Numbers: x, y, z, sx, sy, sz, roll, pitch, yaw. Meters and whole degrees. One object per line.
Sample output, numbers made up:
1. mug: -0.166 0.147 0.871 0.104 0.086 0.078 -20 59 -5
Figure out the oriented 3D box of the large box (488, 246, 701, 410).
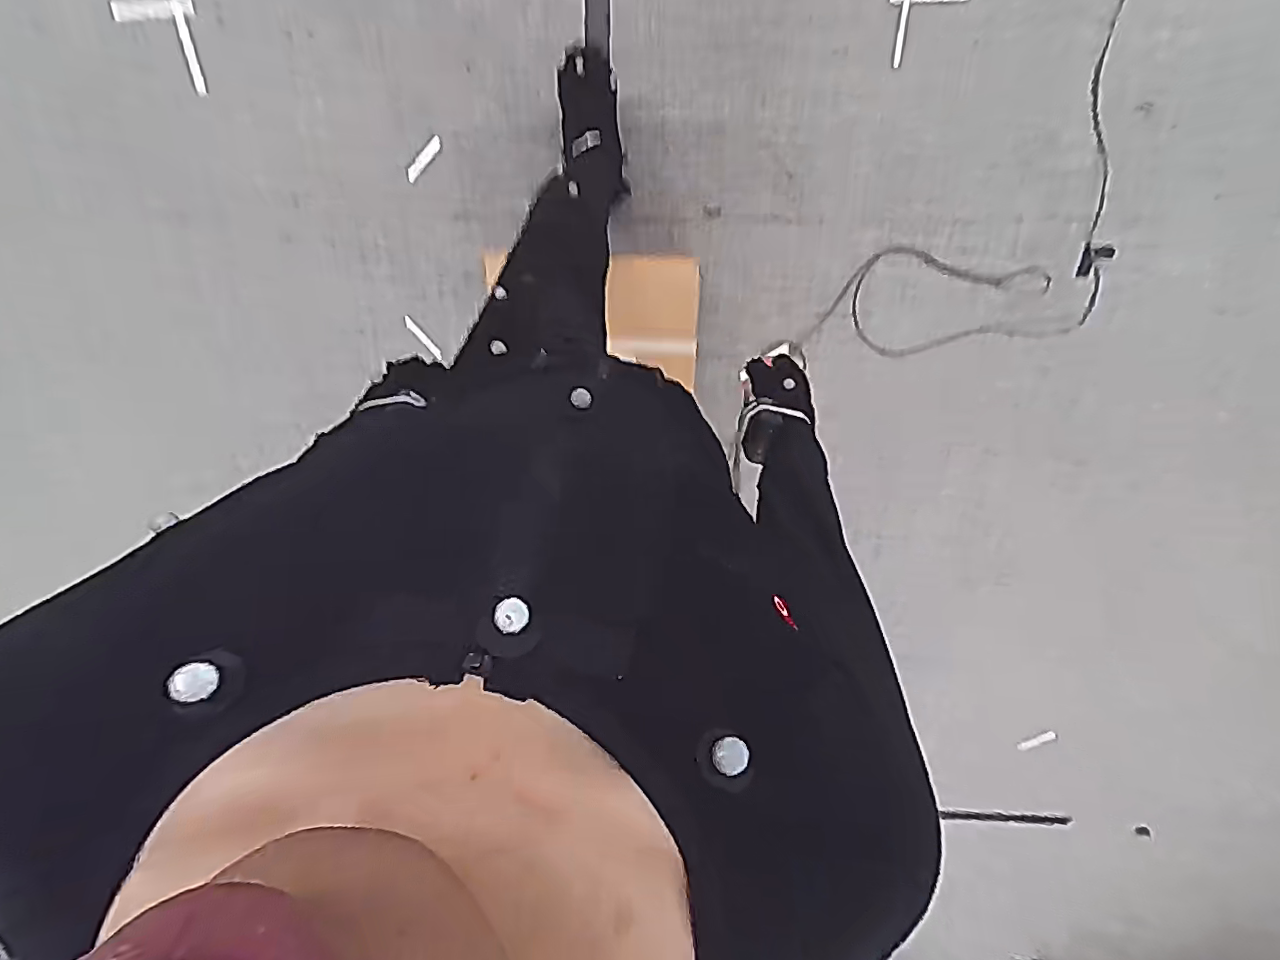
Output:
1. large box: -0.084 -0.347 1.195 0.408 0.320 0.320 2 115 2
